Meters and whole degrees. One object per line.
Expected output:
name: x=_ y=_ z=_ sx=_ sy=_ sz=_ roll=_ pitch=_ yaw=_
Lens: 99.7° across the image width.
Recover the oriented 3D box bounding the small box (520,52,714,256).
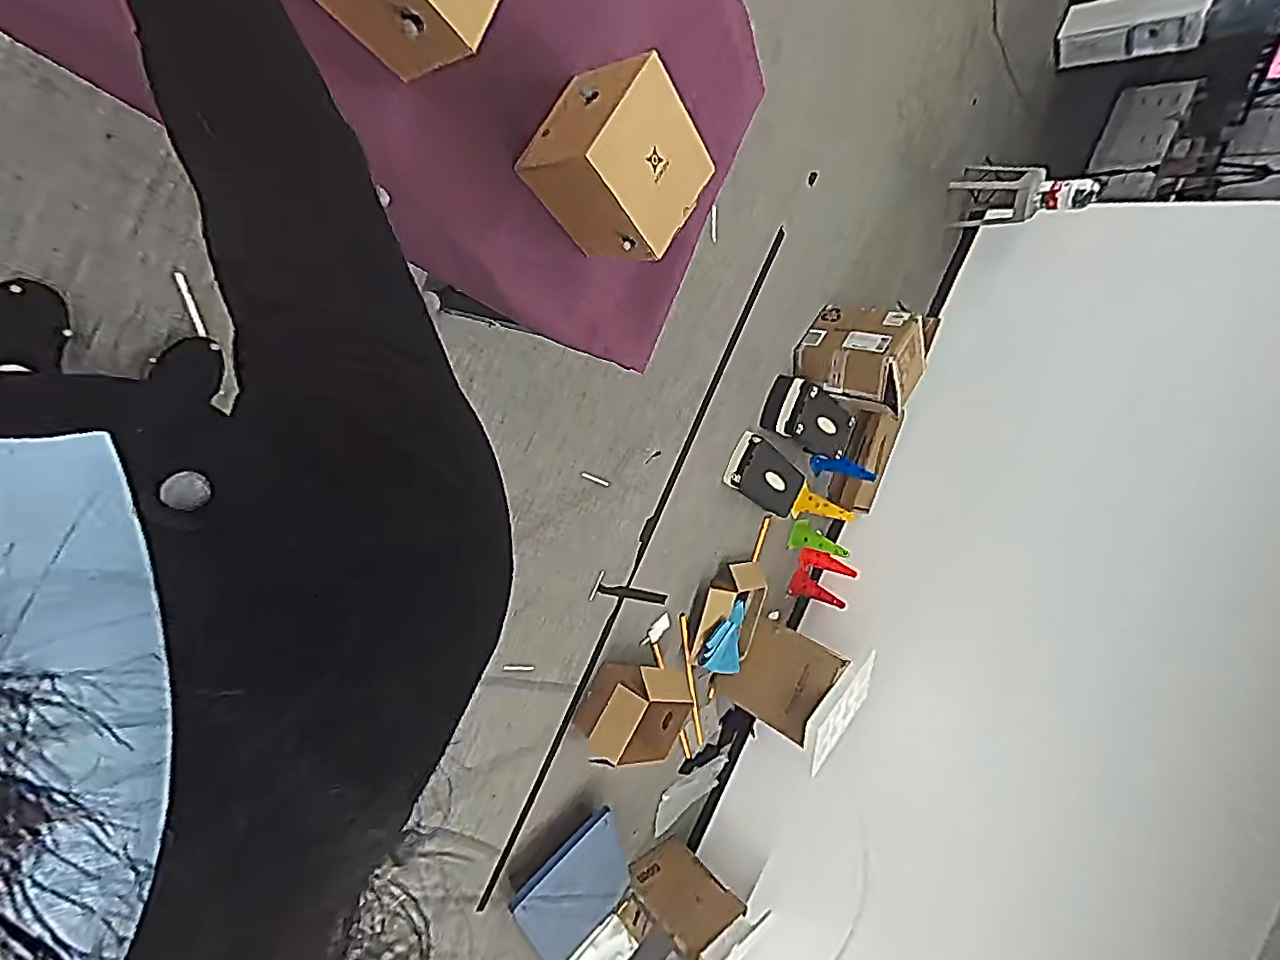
small box: x=-0.034 y=-0.439 z=0.758 sx=0.179 sy=0.176 sz=0.168 roll=38 pitch=80 yaw=-49

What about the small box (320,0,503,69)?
small box: x=-0.228 y=-0.531 z=0.507 sx=0.179 sy=0.176 sz=0.168 roll=26 pitch=88 yaw=-49
